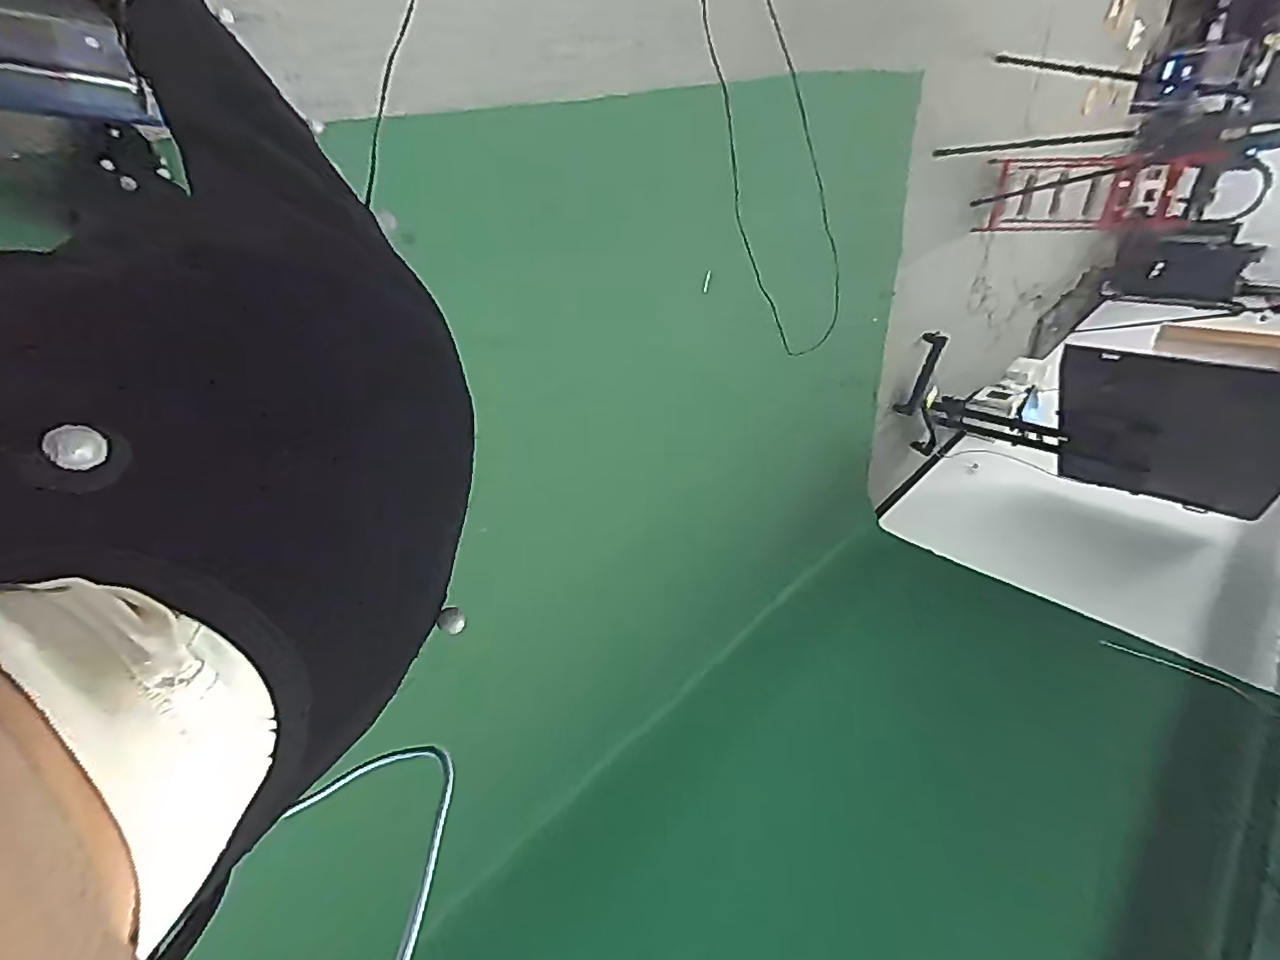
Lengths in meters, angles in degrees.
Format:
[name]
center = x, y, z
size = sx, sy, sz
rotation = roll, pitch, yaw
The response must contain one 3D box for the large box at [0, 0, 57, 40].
[large box]
center = -0.956, -0.811, 0.611
size = 0.320, 0.320, 0.408
rotation = -17, 120, -40
